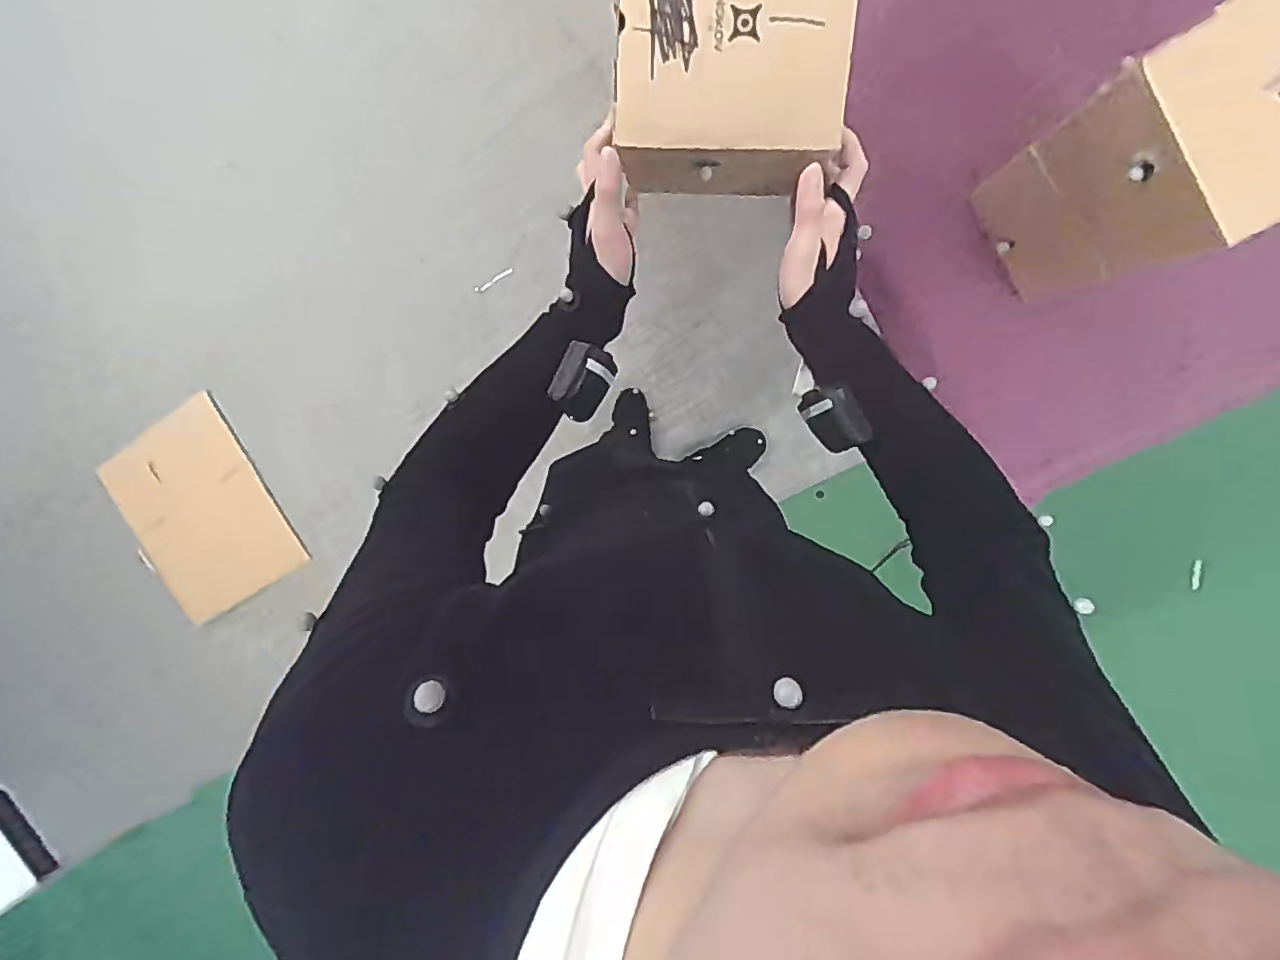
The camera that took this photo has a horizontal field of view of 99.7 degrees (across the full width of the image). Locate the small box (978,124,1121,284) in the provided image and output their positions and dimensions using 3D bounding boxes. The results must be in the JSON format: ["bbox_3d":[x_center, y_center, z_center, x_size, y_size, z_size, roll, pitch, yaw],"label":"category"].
[{"bbox_3d":[0.563,-0.362,0.664,0.168,0.176,0.179,-30,94,14],"label":"small box"}]

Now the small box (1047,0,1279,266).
[{"bbox_3d":[0.535,-0.331,0.505,0.168,0.176,0.179,-28,94,15],"label":"small box"}]

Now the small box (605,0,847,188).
[{"bbox_3d":[0.068,-0.363,0.471,0.179,0.176,0.168,3,108,3],"label":"small box"}]
